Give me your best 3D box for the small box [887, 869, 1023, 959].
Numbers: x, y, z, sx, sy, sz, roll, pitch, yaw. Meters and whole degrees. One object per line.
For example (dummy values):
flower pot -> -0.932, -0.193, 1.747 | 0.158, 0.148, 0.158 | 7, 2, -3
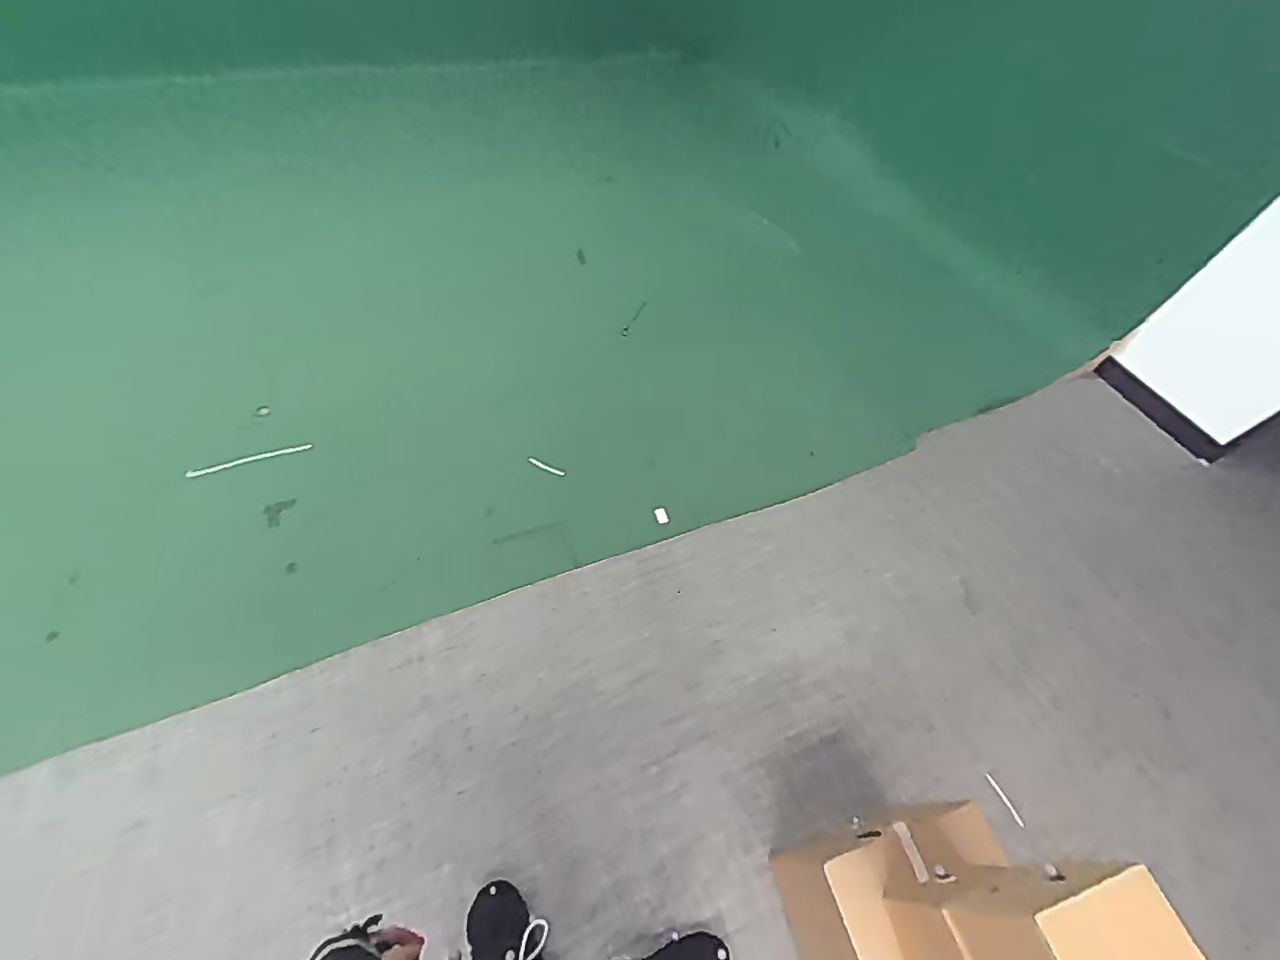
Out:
small box -> 0.486, 0.666, 0.747 | 0.168, 0.176, 0.179 | -10, 57, -14

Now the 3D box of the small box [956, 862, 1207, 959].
small box -> 0.514, 0.568, 0.620 | 0.168, 0.176, 0.179 | -11, 59, -15

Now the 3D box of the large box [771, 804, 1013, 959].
large box -> 0.482, 0.833, 0.928 | 0.320, 0.320, 0.408 | -12, 60, -13
